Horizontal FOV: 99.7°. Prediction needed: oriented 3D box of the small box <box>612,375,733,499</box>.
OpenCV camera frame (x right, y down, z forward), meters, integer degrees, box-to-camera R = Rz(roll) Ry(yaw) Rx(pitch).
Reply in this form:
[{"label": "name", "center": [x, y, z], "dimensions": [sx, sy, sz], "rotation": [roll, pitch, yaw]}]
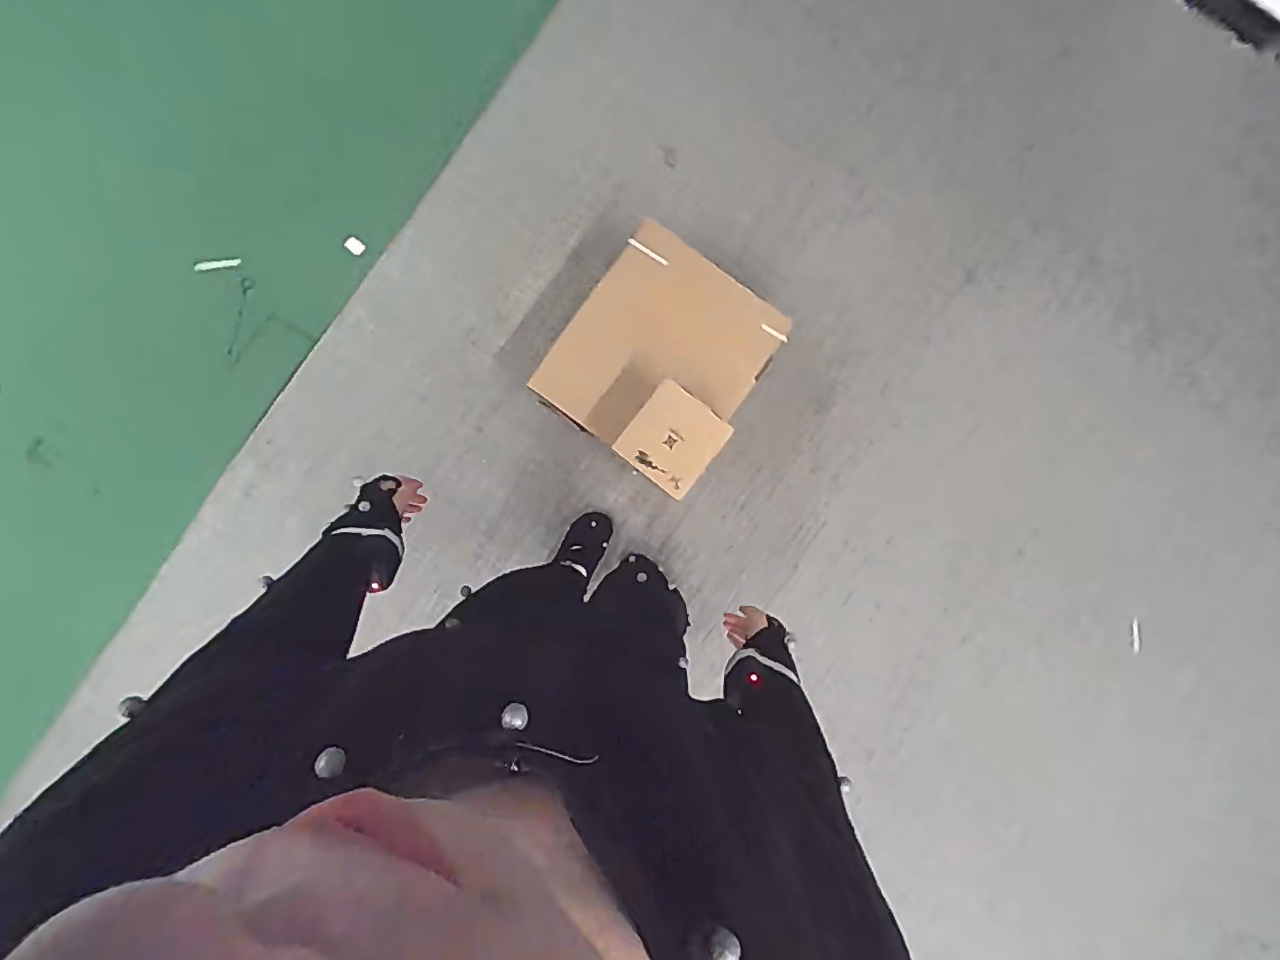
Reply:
[{"label": "small box", "center": [0.057, -0.081, 1.091], "dimensions": [0.168, 0.176, 0.179], "rotation": [40, 89, -1]}]
